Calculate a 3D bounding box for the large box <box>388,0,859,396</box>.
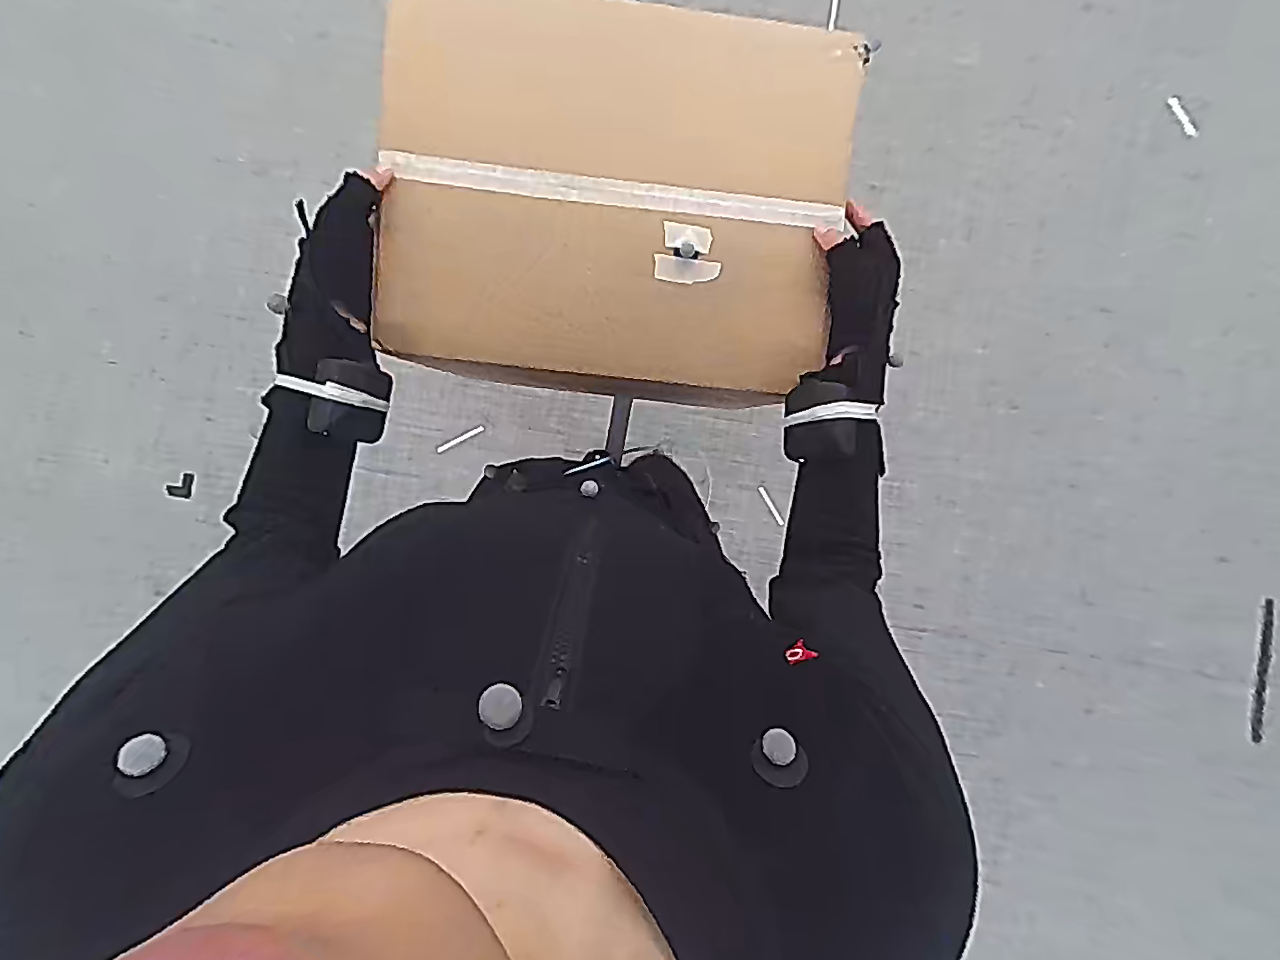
[{"bbox_3d":[-0.025,-0.277,0.630,0.408,0.320,0.320,6,97,-4],"label":"large box"}]
